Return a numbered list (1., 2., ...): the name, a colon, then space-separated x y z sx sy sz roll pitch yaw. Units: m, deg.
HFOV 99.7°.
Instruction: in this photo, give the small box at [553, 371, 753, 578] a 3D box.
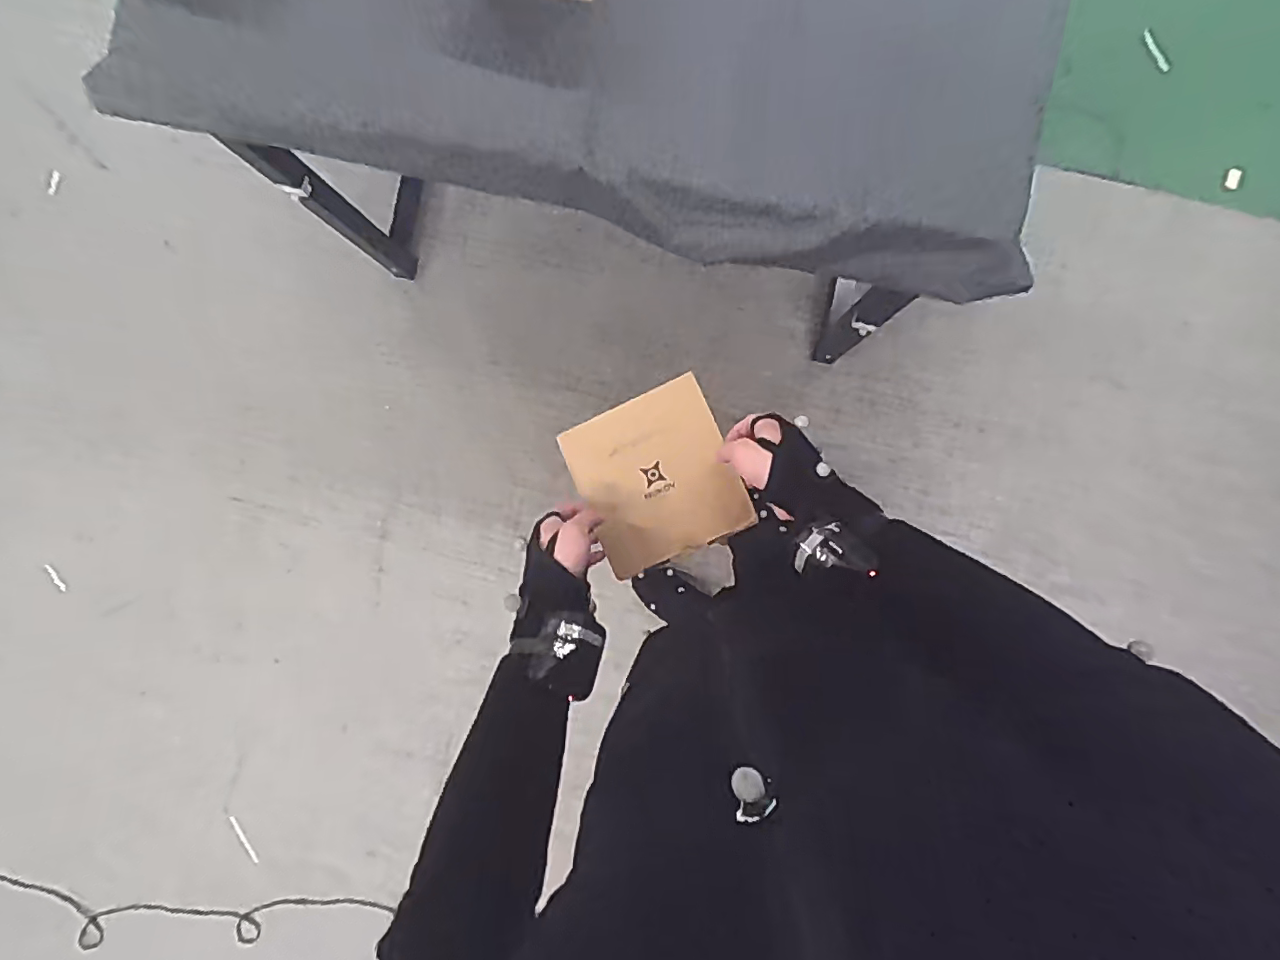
1. small box: 0.023 -0.004 0.649 0.168 0.176 0.179 -25 85 6
